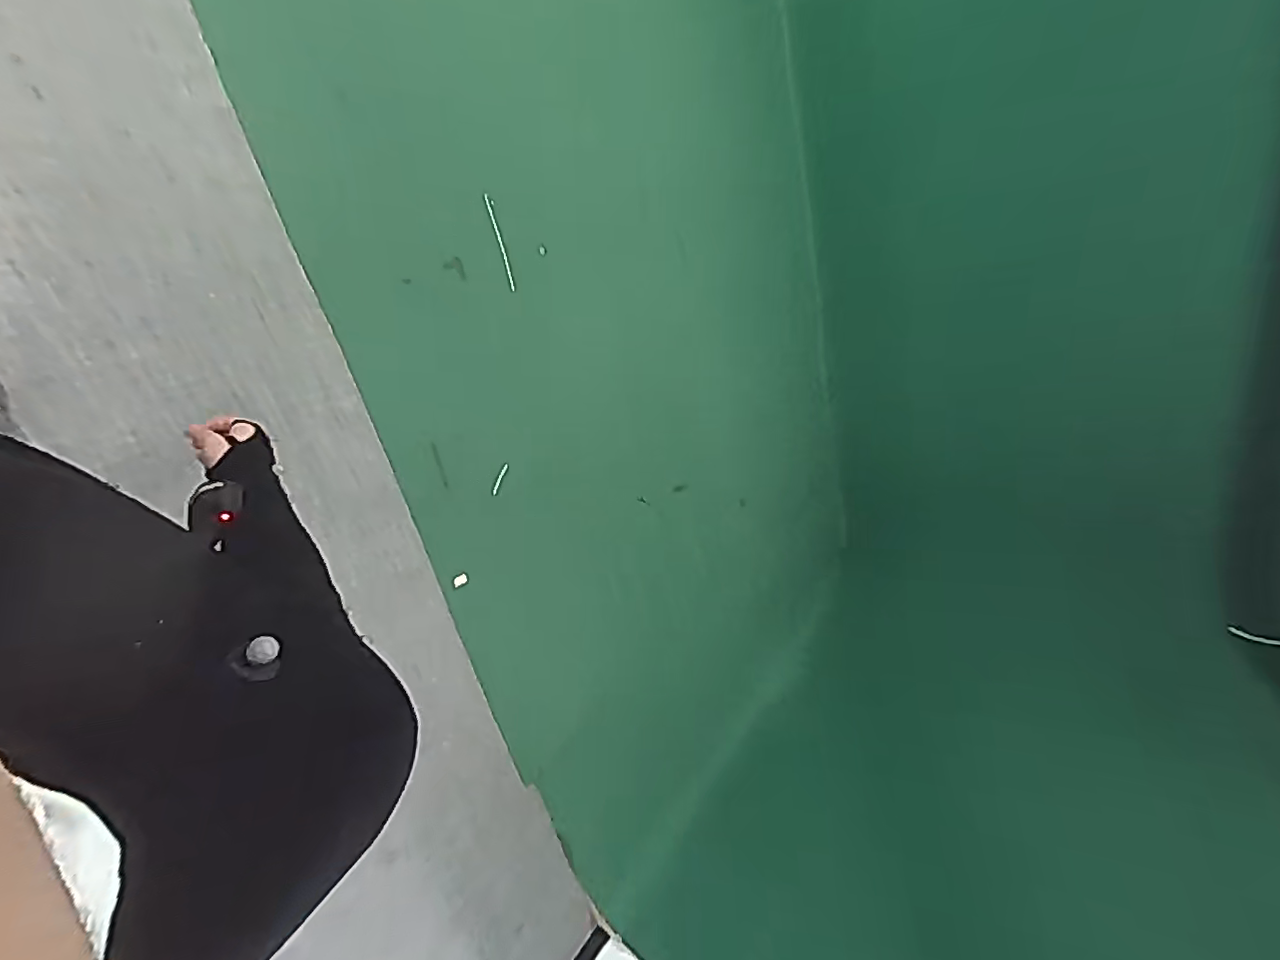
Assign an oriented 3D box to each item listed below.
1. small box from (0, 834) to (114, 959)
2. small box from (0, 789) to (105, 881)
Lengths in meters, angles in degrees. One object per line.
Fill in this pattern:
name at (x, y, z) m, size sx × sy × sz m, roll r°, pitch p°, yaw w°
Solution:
small box at (-1.074, 0.768, 0.950) m, size 0.168 × 0.176 × 0.179 m, roll -25°, pitch 112°, yaw -43°
small box at (-1.196, 0.757, 1.056) m, size 0.179 × 0.176 × 0.168 m, roll -26°, pitch 112°, yaw -44°
